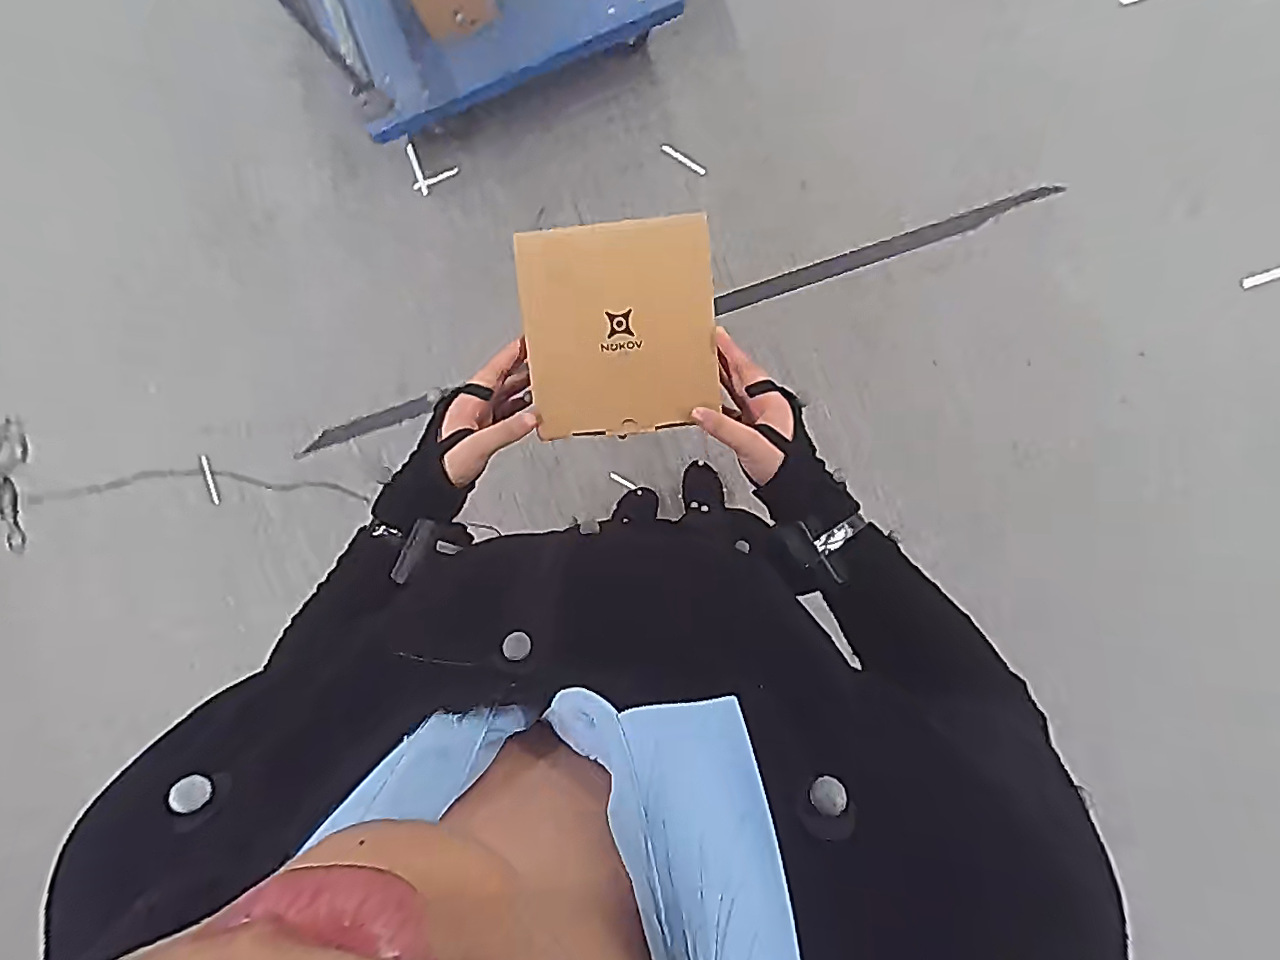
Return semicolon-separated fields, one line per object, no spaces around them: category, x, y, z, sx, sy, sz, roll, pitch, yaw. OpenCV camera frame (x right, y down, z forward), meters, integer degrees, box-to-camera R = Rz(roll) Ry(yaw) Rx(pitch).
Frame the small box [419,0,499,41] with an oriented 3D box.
small box;-0.448;-1.188;1.255;0.168;0.176;0.179;-16;89;4
